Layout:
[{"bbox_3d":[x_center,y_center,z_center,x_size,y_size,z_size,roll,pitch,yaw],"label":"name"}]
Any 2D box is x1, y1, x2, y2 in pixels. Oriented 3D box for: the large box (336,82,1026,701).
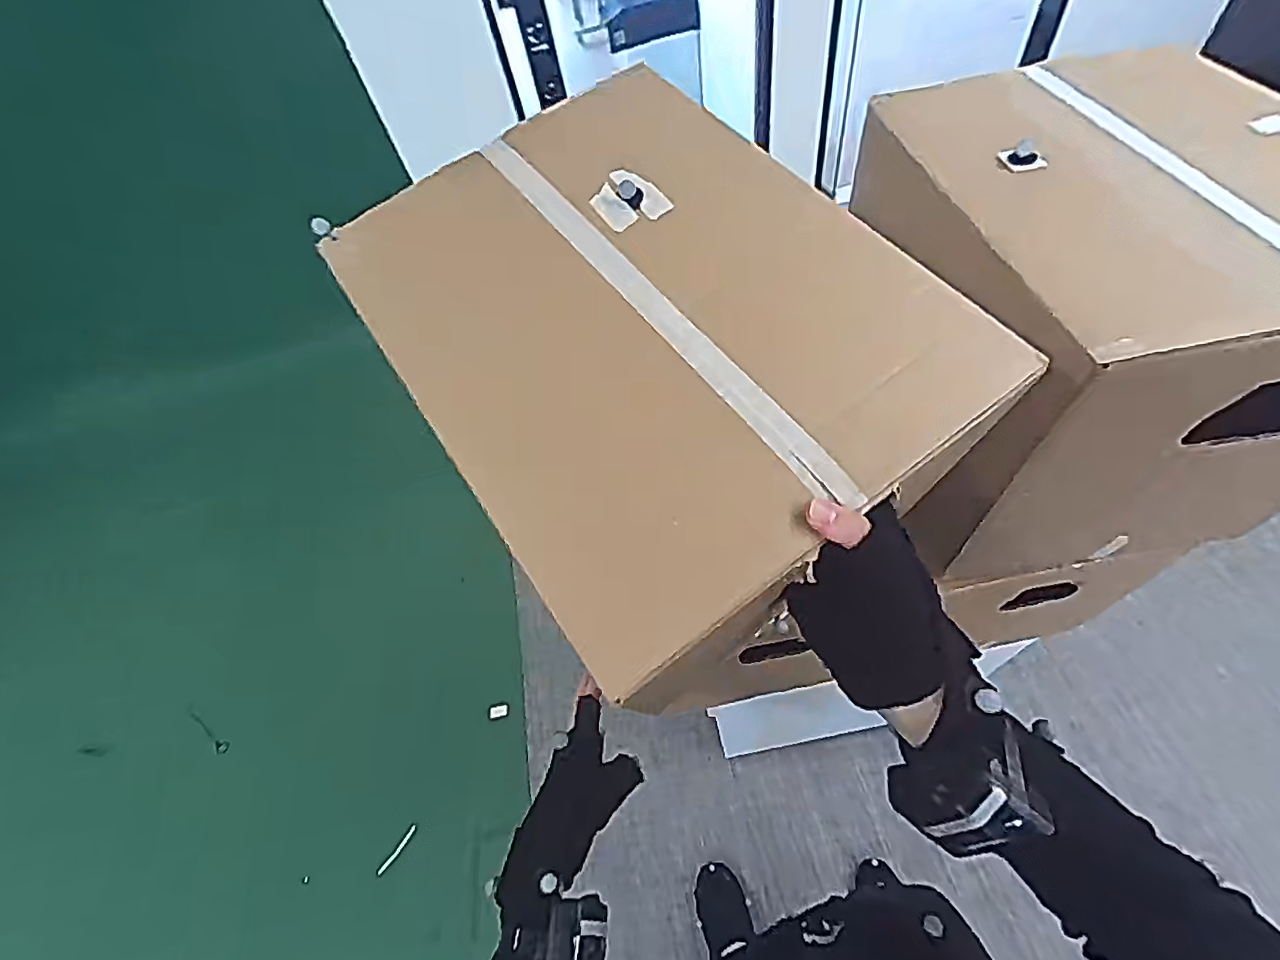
[{"bbox_3d":[0.013,-0.063,0.505,0.320,0.320,0.408,-34,65,-9],"label":"large box"}]
